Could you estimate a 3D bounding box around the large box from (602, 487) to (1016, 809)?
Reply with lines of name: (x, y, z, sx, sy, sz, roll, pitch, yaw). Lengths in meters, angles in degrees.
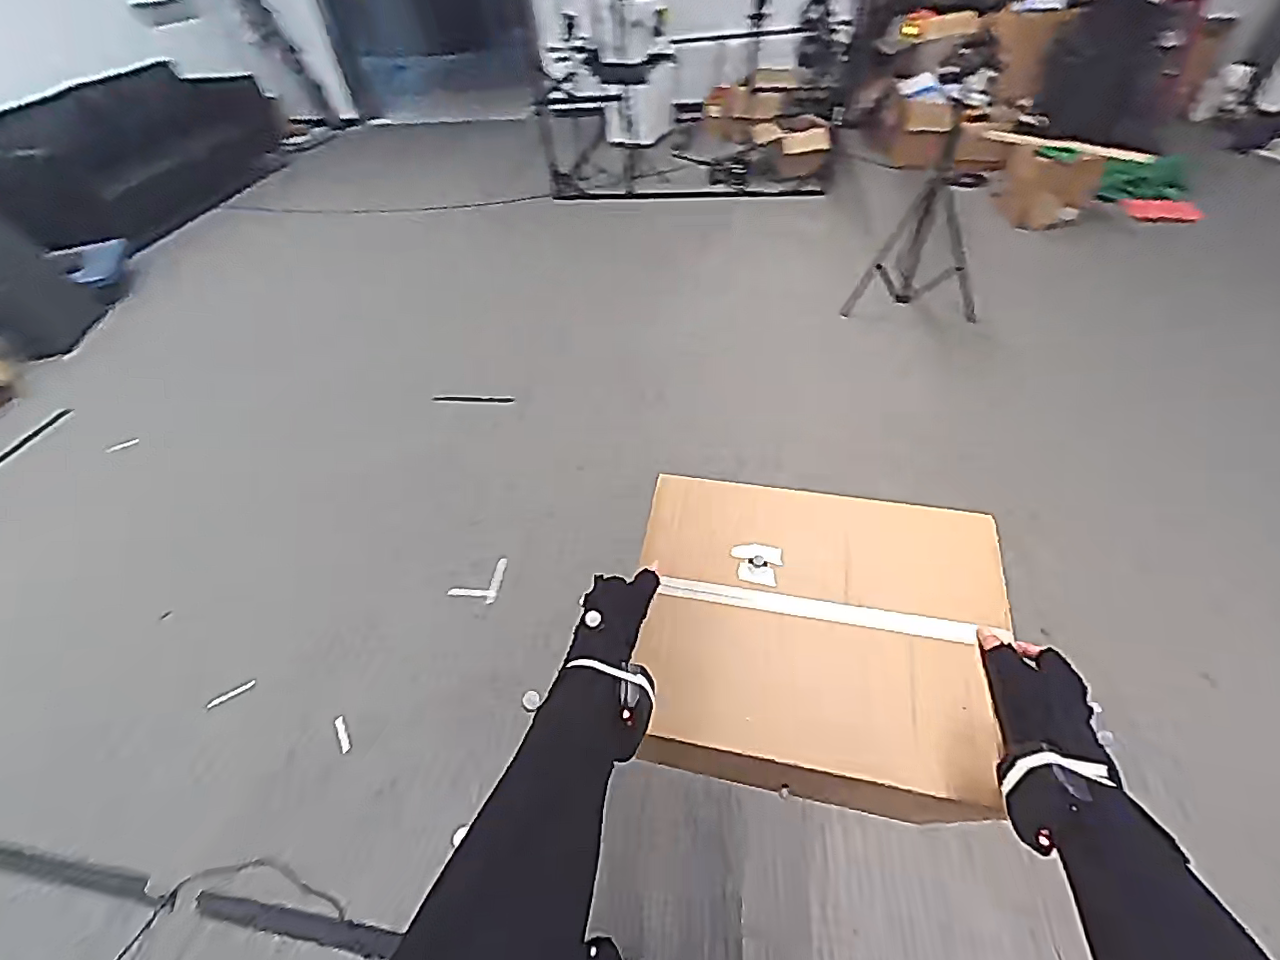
large box: (0.195, 0.233, 0.733, 0.408, 0.320, 0.320, 6, 57, 10)
